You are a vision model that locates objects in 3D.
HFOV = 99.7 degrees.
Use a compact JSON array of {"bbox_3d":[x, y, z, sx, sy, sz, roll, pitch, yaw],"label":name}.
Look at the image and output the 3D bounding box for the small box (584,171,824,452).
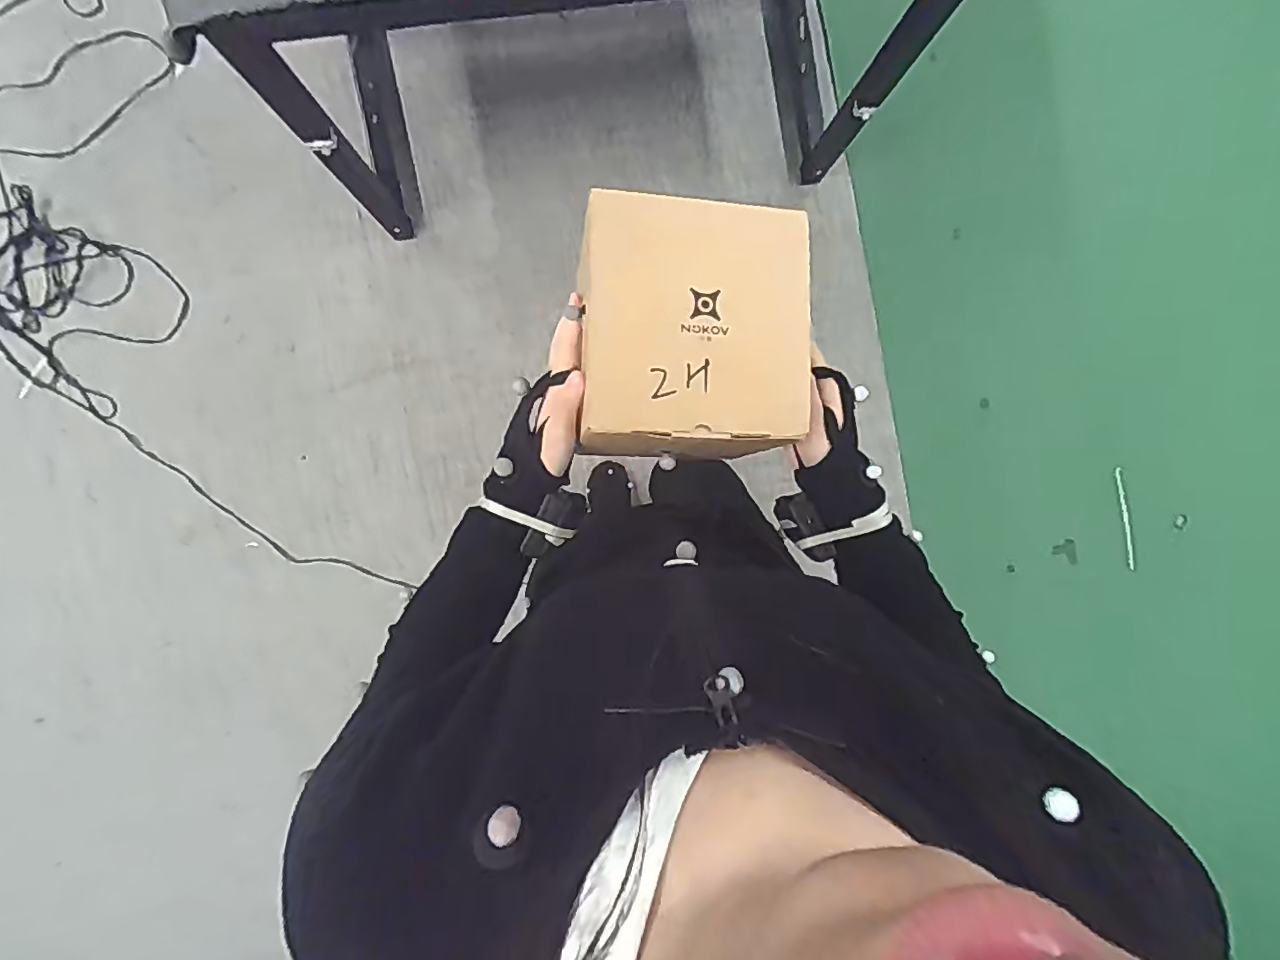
[{"bbox_3d":[0.040,-0.122,0.462,0.168,0.176,0.179,1,87,-9],"label":"small box"}]
